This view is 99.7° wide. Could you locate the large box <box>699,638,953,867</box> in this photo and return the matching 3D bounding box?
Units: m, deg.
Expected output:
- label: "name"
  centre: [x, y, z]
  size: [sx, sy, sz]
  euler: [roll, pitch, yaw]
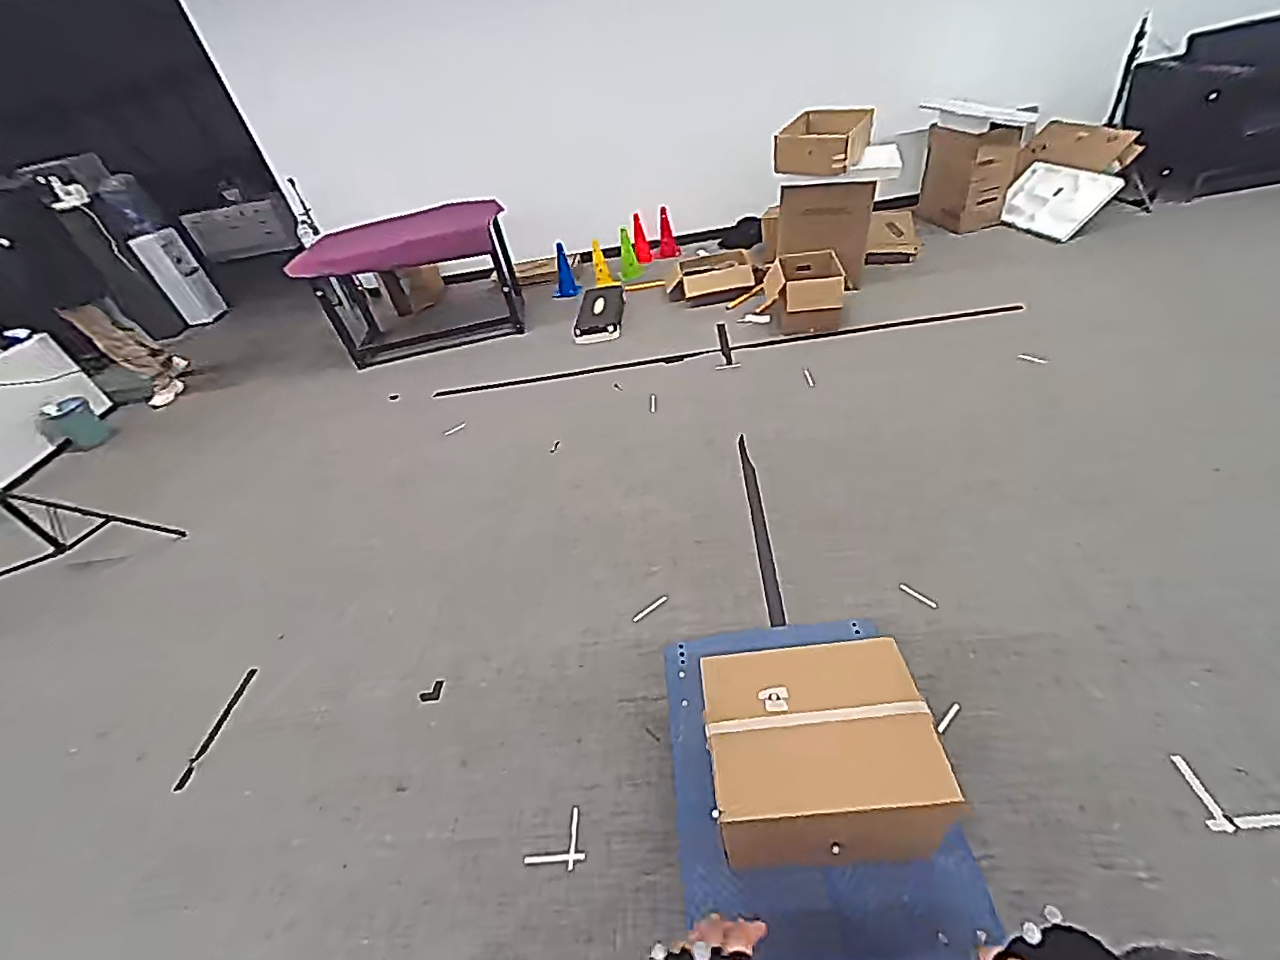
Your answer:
- label: "large box"
  centre: [0.355, 0.571, 1.128]
  size: [0.408, 0.320, 0.320]
  euler: [-9, 39, 5]
